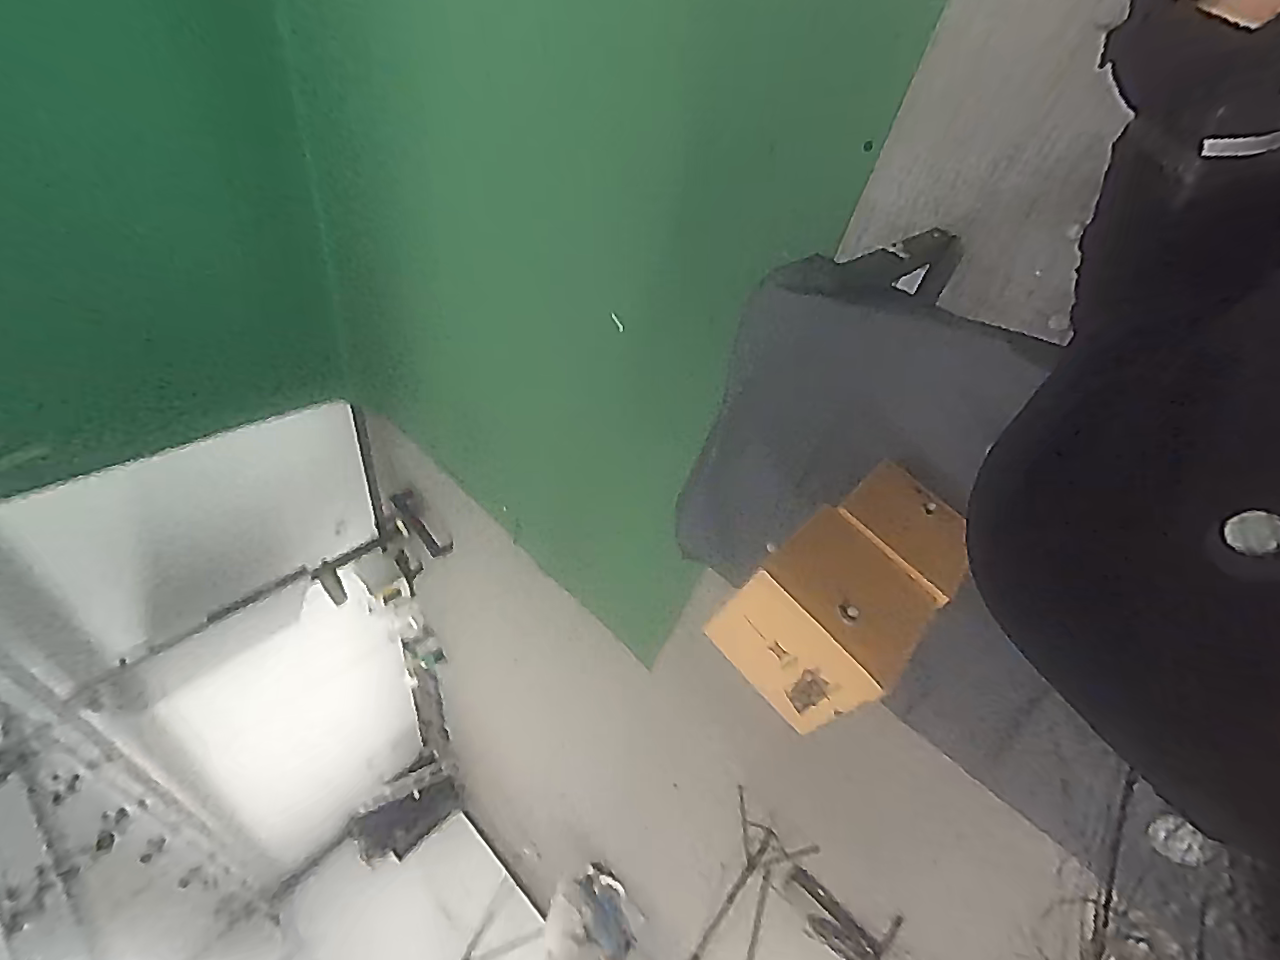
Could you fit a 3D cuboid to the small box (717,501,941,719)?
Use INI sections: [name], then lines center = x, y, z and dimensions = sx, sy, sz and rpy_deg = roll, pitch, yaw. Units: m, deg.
[small box]
center = 0.238, 0.158, 0.685
dimensions = 0.179, 0.176, 0.168
rpy_deg = 45, 139, 17
